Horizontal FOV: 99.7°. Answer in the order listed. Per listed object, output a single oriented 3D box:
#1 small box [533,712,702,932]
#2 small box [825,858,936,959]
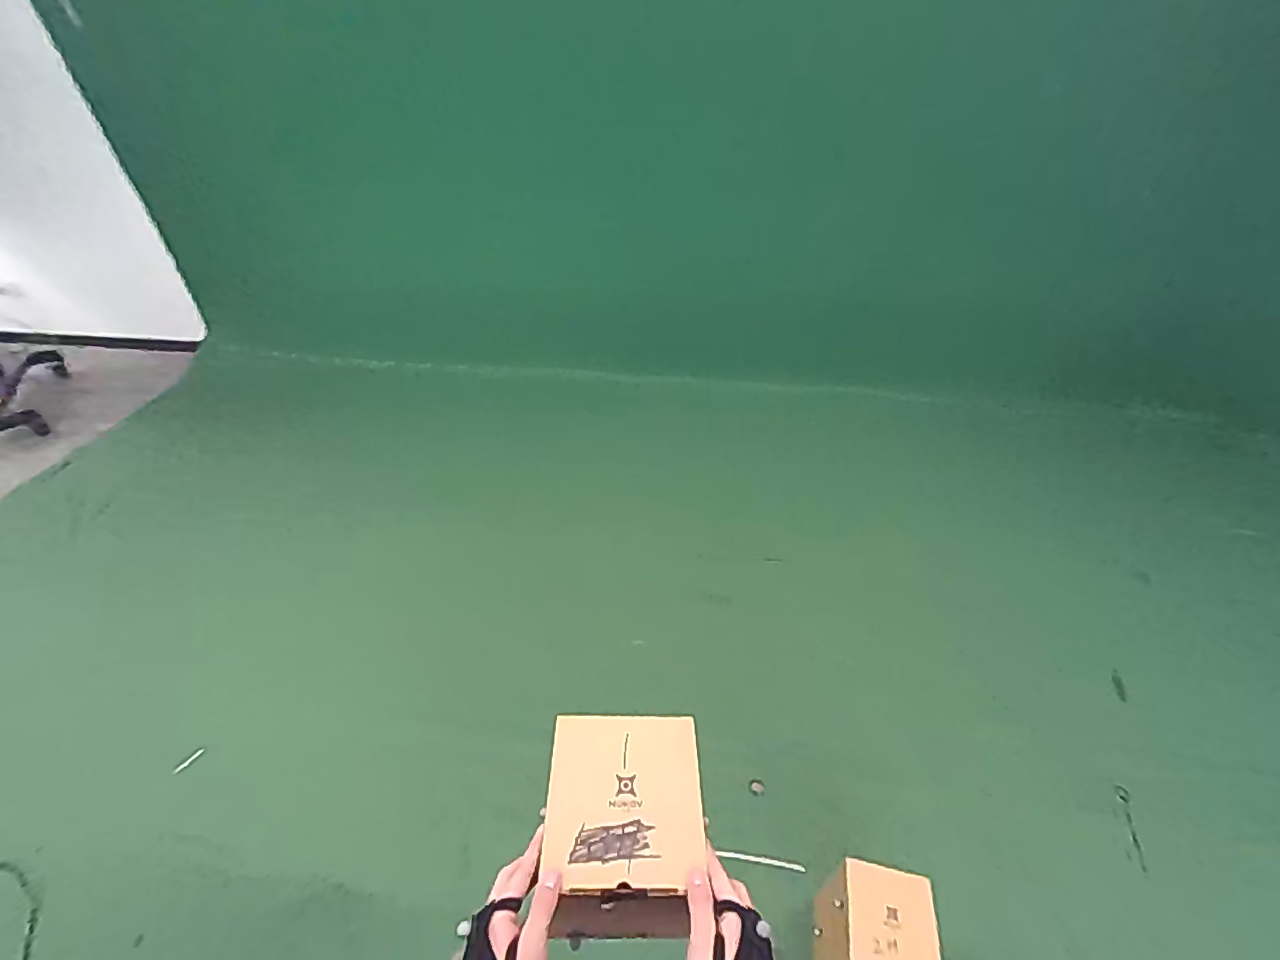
[{"bbox_3d":[-0.024,0.395,0.626,0.168,0.176,0.179,2,37,-3],"label":"small box"},{"bbox_3d":[0.478,0.913,1.097,0.168,0.176,0.179,9,41,11],"label":"small box"}]
